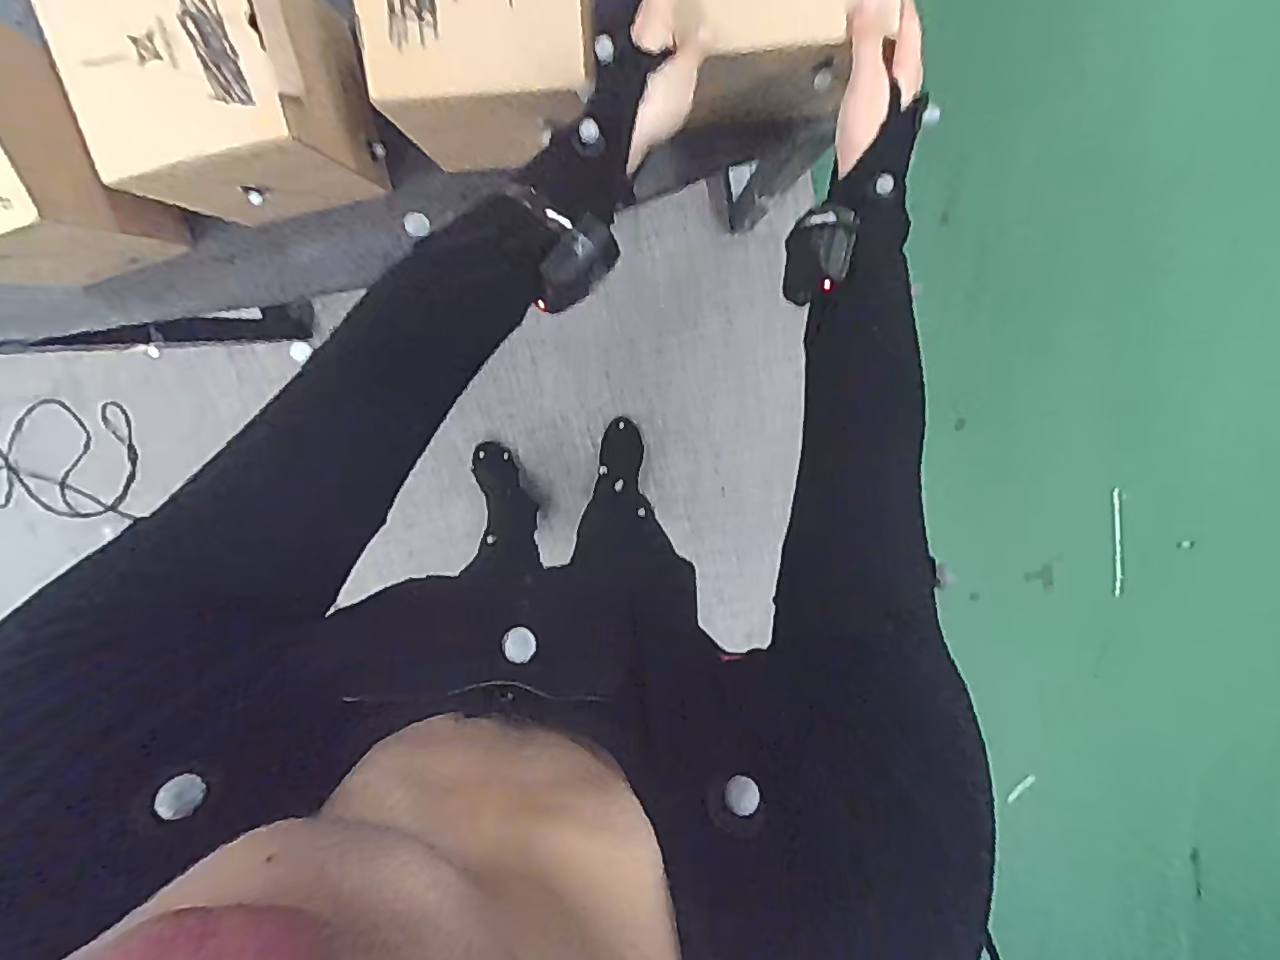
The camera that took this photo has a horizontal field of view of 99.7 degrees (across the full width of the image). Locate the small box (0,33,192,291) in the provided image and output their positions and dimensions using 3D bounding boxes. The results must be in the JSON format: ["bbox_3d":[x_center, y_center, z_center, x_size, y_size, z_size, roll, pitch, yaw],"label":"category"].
[{"bbox_3d":[-0.606,-0.298,0.527,0.168,0.176,0.179,-14,104,6],"label":"small box"}]
